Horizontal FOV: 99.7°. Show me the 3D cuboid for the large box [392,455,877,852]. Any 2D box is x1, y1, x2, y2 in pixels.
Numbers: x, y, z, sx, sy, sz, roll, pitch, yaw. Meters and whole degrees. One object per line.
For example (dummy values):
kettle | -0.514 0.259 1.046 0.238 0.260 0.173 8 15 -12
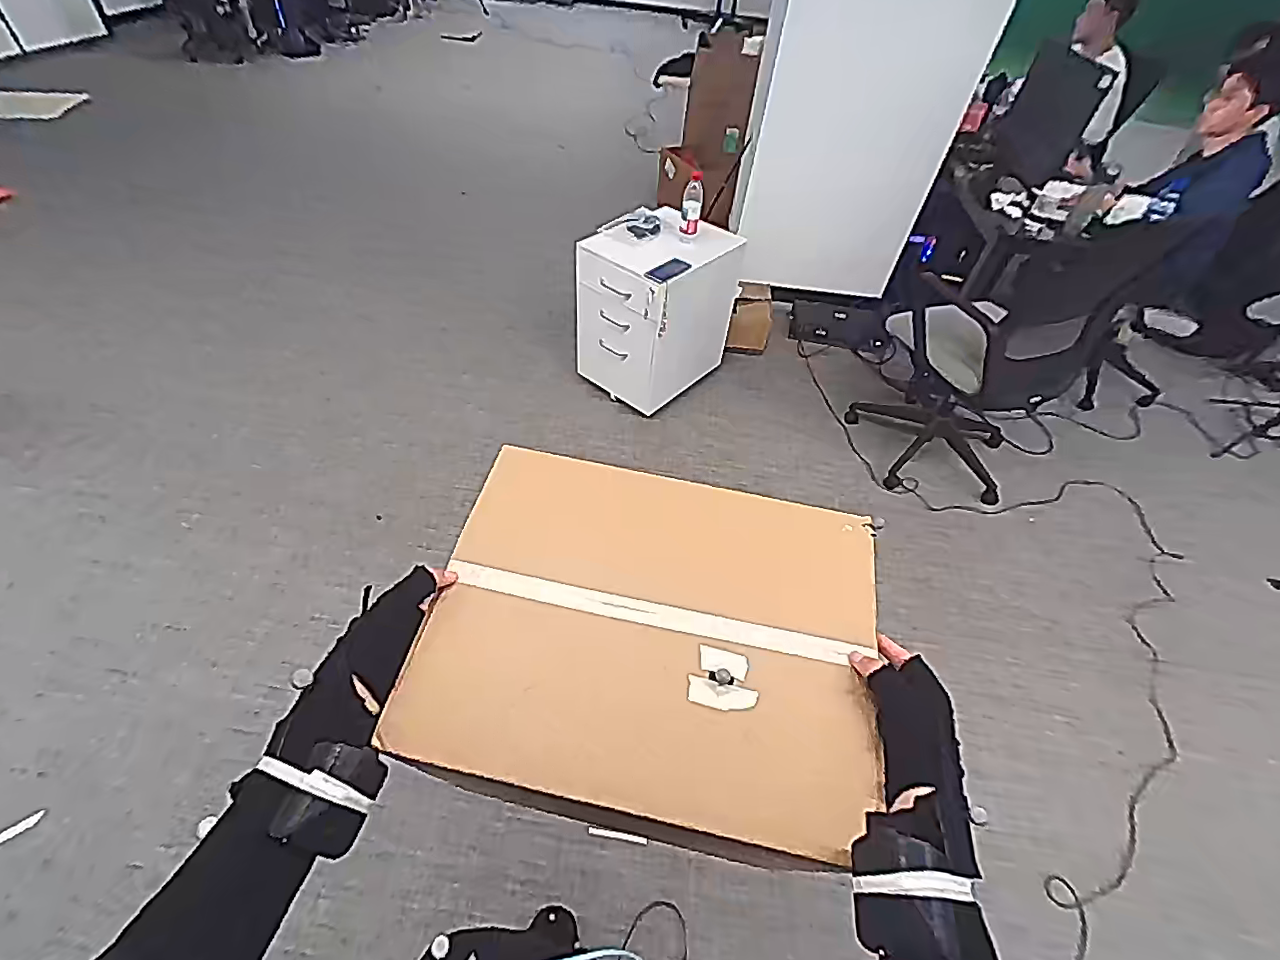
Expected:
large box | 0.006 0.212 0.633 0.408 0.320 0.320 11 56 3
